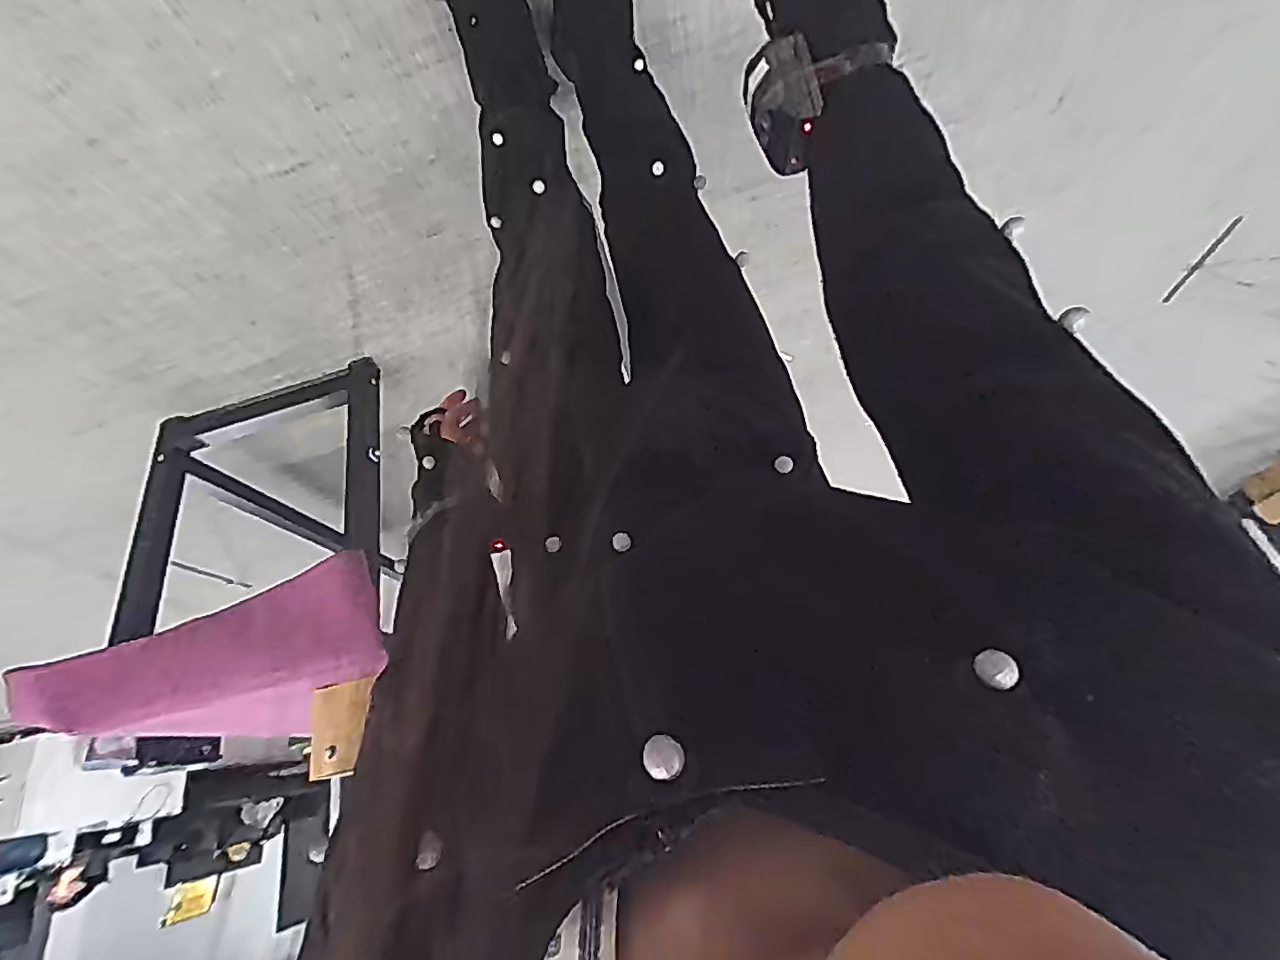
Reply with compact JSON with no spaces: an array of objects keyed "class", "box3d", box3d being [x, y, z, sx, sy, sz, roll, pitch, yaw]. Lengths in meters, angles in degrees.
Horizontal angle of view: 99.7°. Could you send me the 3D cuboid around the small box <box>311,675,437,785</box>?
[{"class":"small box","box3d":[-0.545,0.517,1.125,0.179,0.176,0.168,-17,154,5]}]
